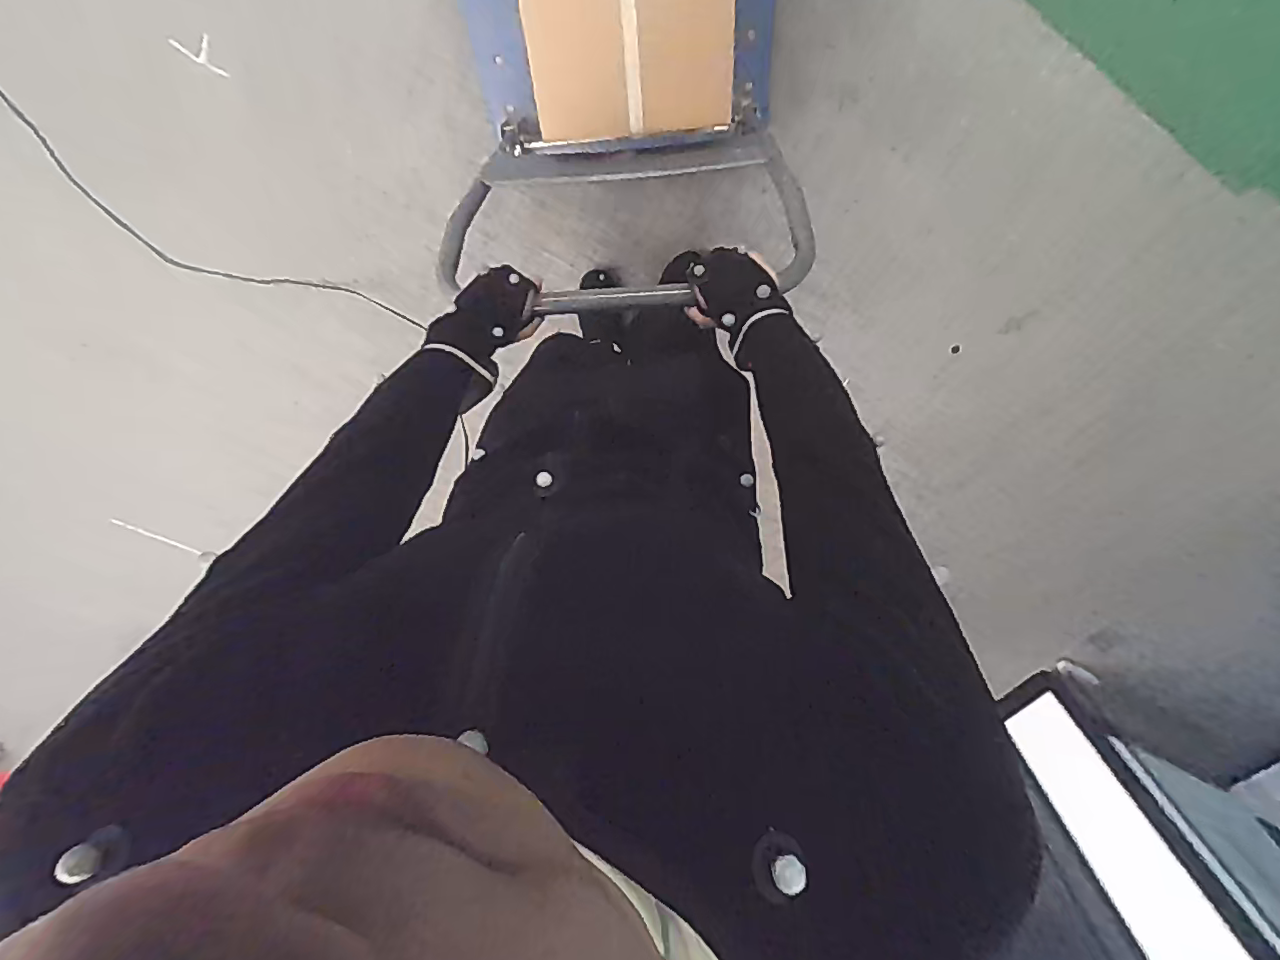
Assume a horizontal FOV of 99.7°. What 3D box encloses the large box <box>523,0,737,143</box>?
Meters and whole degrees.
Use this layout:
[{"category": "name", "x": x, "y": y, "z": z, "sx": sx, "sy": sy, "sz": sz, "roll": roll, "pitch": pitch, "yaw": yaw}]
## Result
[{"category": "large box", "x": -0.015, "y": -0.815, "z": 0.872, "sx": 0.320, "sy": 0.320, "sz": 0.408, "roll": -3, "pitch": 131, "yaw": 3}]
